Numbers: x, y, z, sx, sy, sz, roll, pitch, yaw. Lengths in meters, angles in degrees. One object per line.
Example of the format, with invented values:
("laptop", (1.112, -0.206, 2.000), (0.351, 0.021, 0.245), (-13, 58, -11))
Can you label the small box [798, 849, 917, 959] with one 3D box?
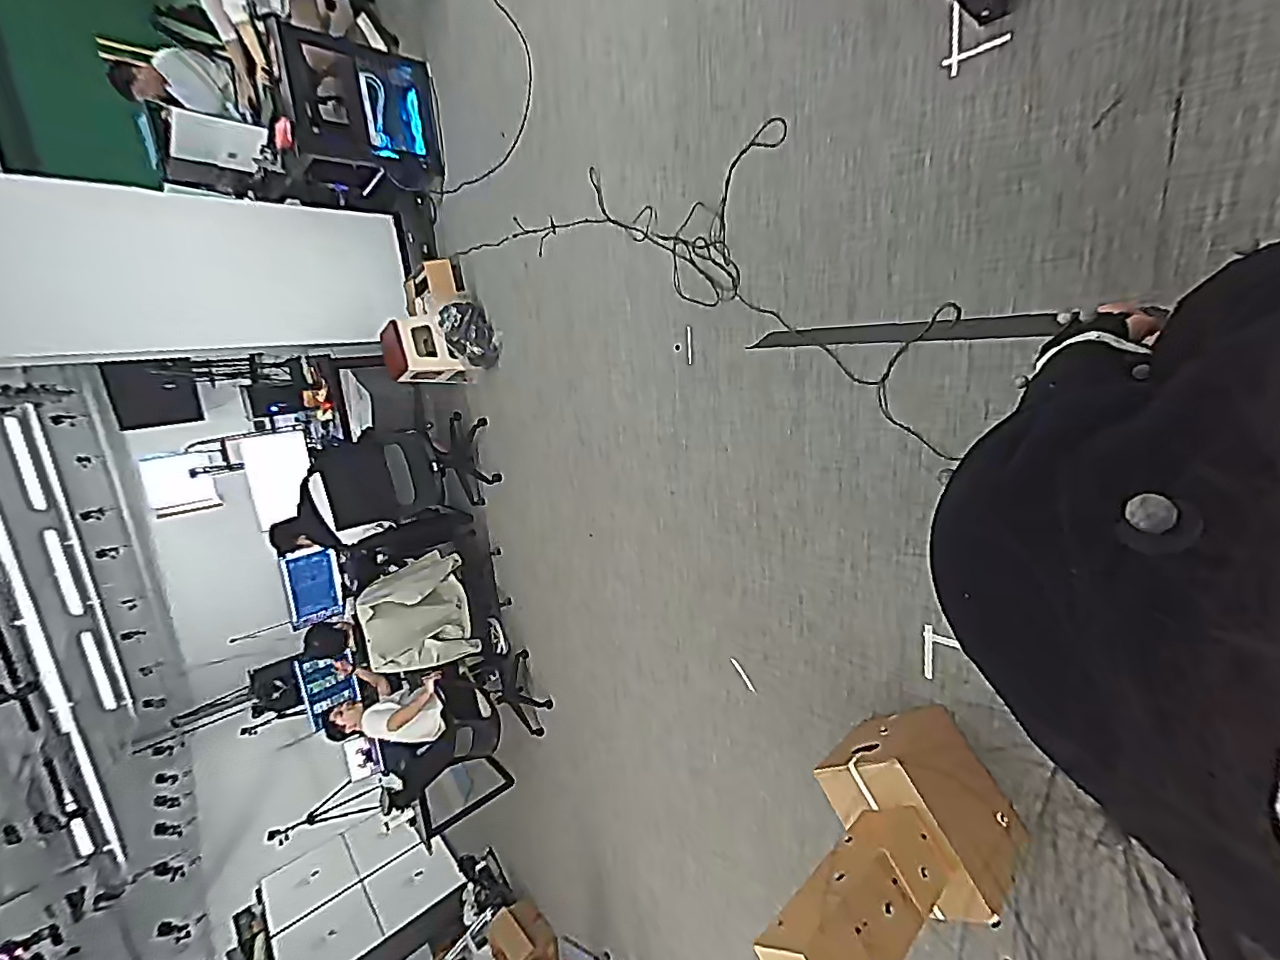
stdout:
("small box", (0.516, 0.997, 1.266), (0.168, 0.176, 0.179), (61, 139, 16))

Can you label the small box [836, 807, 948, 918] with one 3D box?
("small box", (0.641, 0.954, 1.363), (0.168, 0.176, 0.179), (60, 139, 16))
